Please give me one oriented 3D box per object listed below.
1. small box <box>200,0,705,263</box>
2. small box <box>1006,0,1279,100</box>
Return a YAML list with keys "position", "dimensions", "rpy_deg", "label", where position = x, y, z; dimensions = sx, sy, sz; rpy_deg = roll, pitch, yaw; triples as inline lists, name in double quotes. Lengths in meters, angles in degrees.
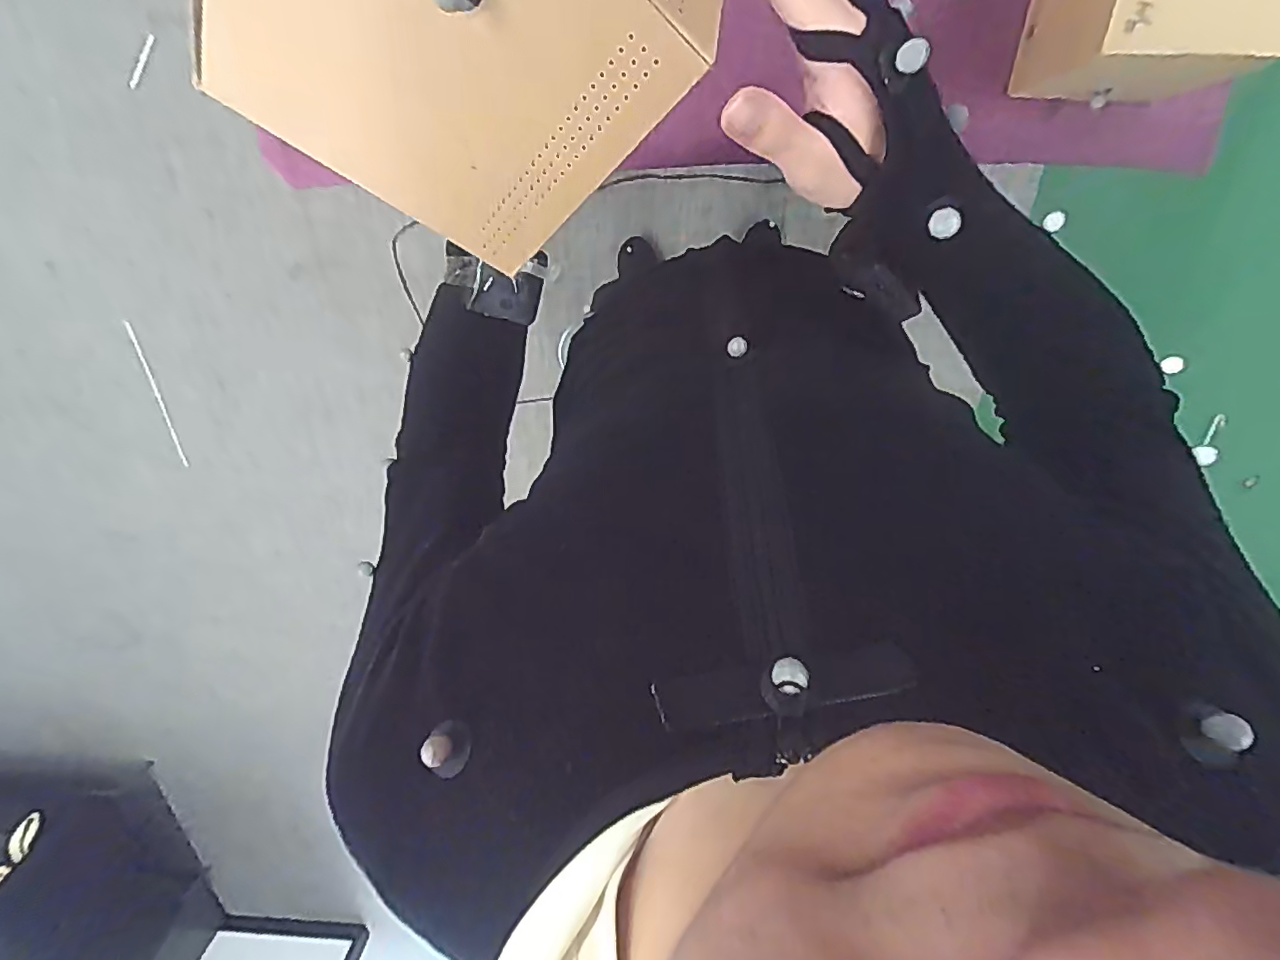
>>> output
- position: [-0.075, -0.248, 0.261]
  dimensions: [0.176, 0.168, 0.179]
  rpy_deg: [24, 154, -34]
  label: "small box"
- position: [0.528, -0.508, 0.552]
  dimensions: [0.179, 0.176, 0.168]
  rpy_deg: [4, 113, 3]
  label: "small box"
